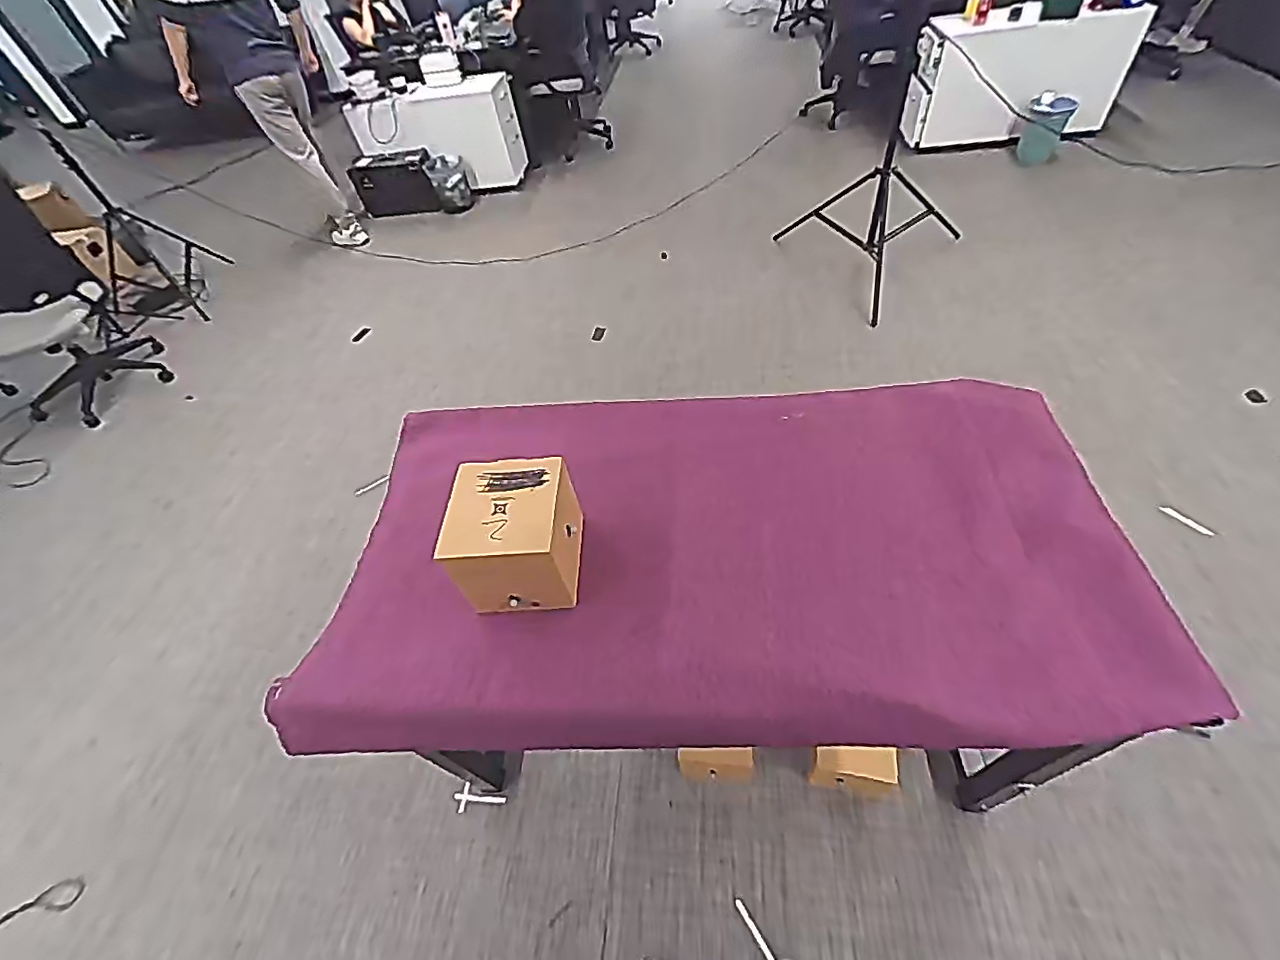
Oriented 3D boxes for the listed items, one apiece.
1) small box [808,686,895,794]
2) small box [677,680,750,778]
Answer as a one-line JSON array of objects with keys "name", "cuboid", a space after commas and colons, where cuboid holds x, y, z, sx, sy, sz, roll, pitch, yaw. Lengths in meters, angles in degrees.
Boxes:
[{"name": "small box", "cuboid": [0.488, 0.611, 1.263, 0.168, 0.176, 0.179, 5, 51, 14]}, {"name": "small box", "cuboid": [0.183, 0.607, 1.312, 0.168, 0.176, 0.179, 1, 50, 9]}]
